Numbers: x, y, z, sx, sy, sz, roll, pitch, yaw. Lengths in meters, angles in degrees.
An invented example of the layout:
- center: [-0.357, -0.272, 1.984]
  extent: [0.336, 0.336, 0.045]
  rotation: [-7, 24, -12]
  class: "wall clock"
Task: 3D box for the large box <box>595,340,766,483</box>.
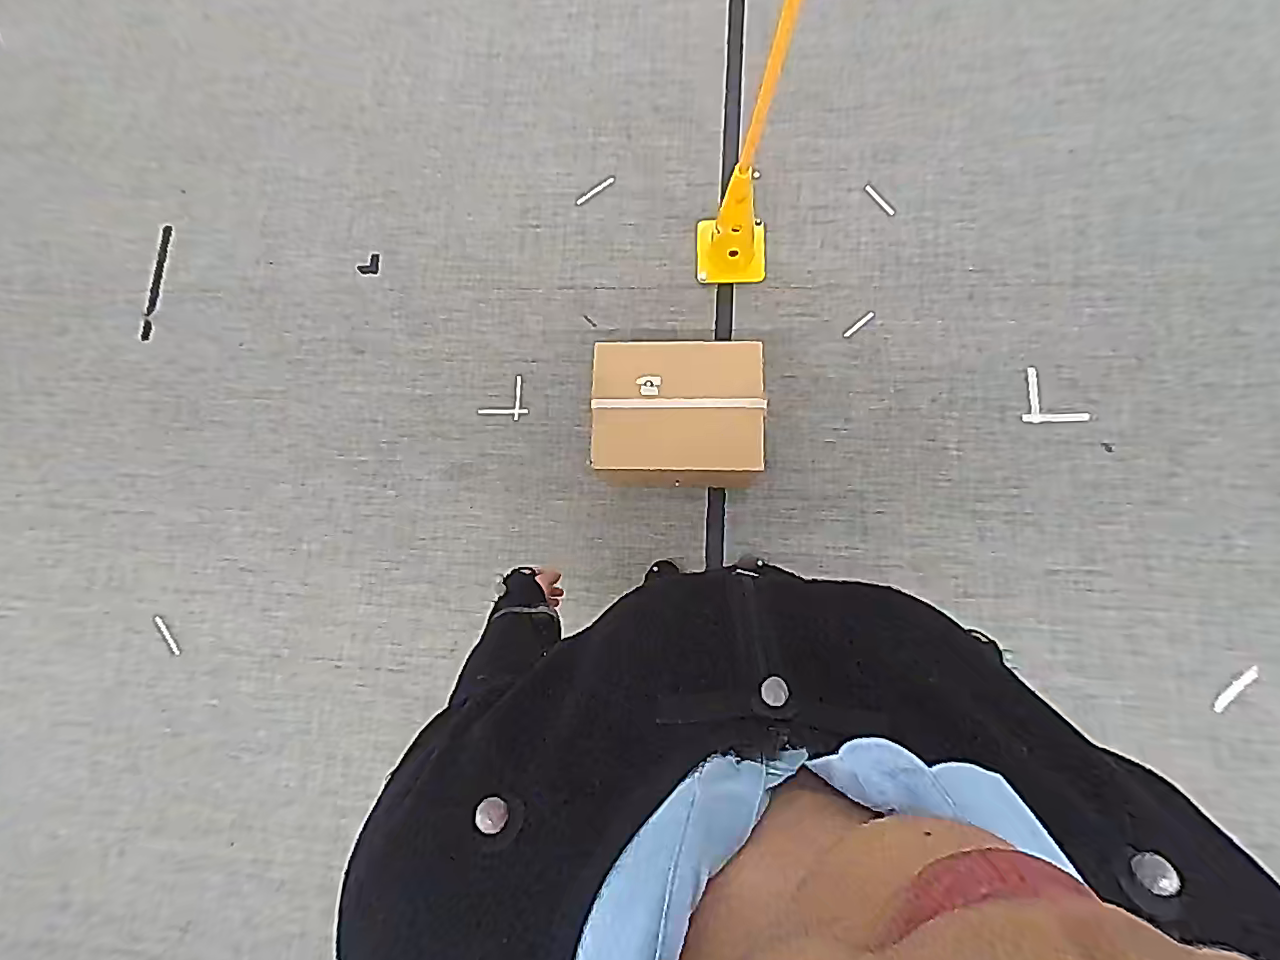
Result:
- center: [0.110, -0.159, 1.425]
  extent: [0.408, 0.320, 0.320]
  rotation: [0, 81, 6]
  class: "large box"
